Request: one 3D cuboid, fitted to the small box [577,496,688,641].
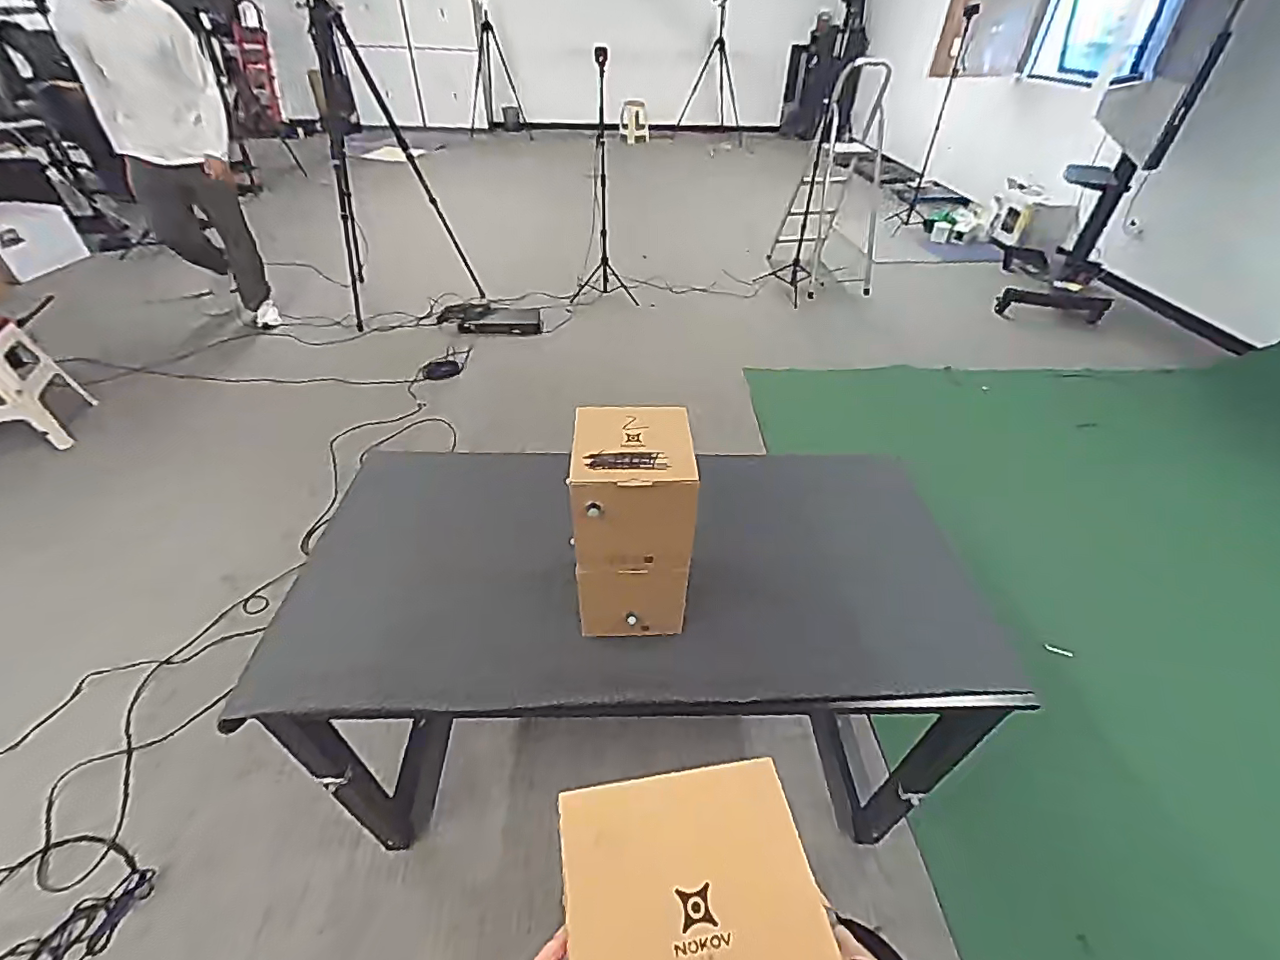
[{"bbox_3d":[-0.016,0.146,0.899,0.168,0.176,0.179,-1,41,-3],"label":"small box"}]

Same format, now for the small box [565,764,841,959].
[{"bbox_3d":[0.032,0.342,0.392,0.168,0.176,0.179,-4,39,-10],"label":"small box"}]
